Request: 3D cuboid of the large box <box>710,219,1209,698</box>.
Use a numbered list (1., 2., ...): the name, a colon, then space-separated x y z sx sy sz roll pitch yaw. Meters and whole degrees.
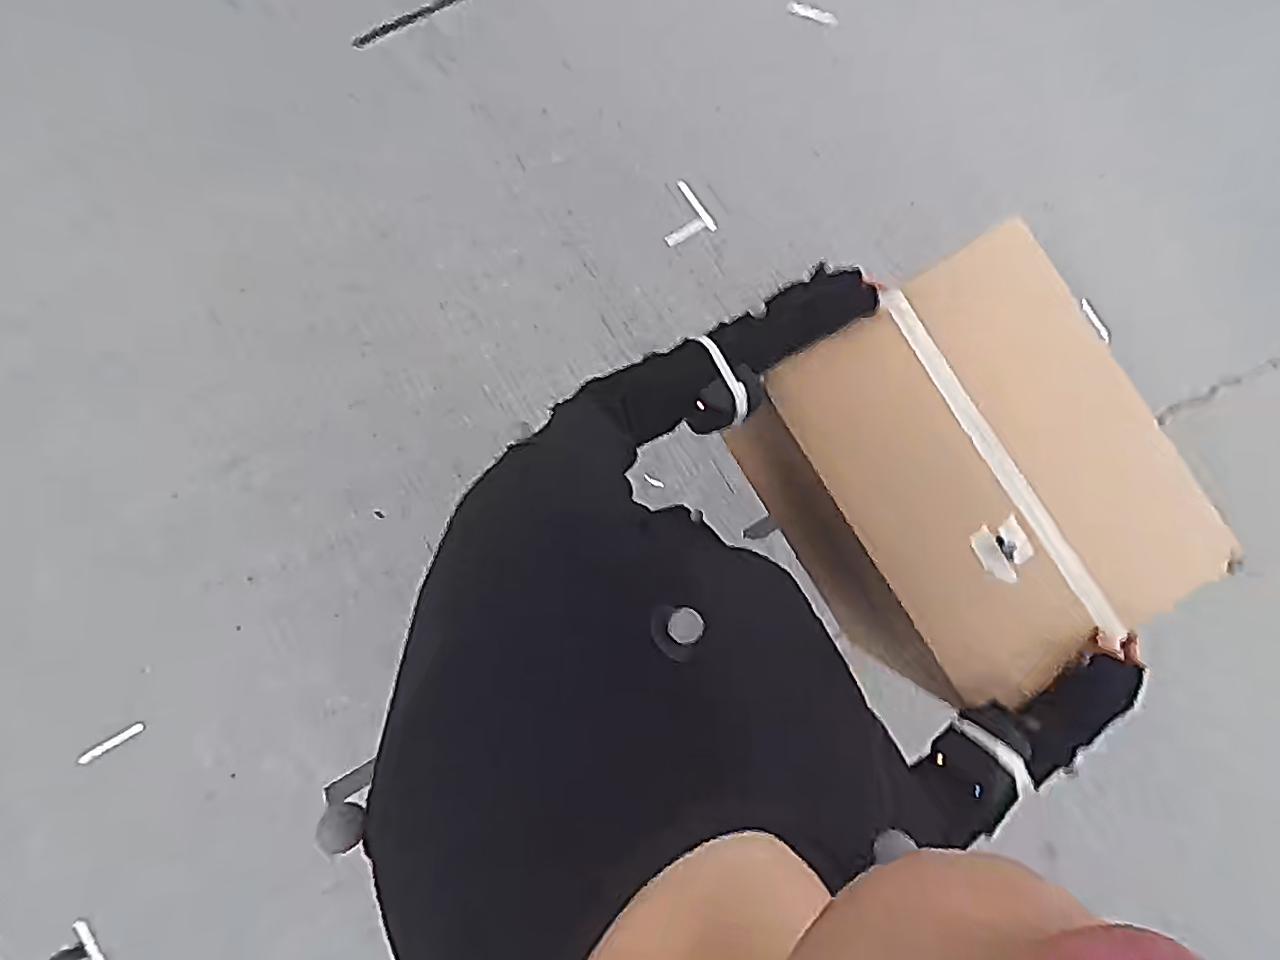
1. large box: 0.343 -0.022 0.695 0.320 0.320 0.408 -33 90 -1
